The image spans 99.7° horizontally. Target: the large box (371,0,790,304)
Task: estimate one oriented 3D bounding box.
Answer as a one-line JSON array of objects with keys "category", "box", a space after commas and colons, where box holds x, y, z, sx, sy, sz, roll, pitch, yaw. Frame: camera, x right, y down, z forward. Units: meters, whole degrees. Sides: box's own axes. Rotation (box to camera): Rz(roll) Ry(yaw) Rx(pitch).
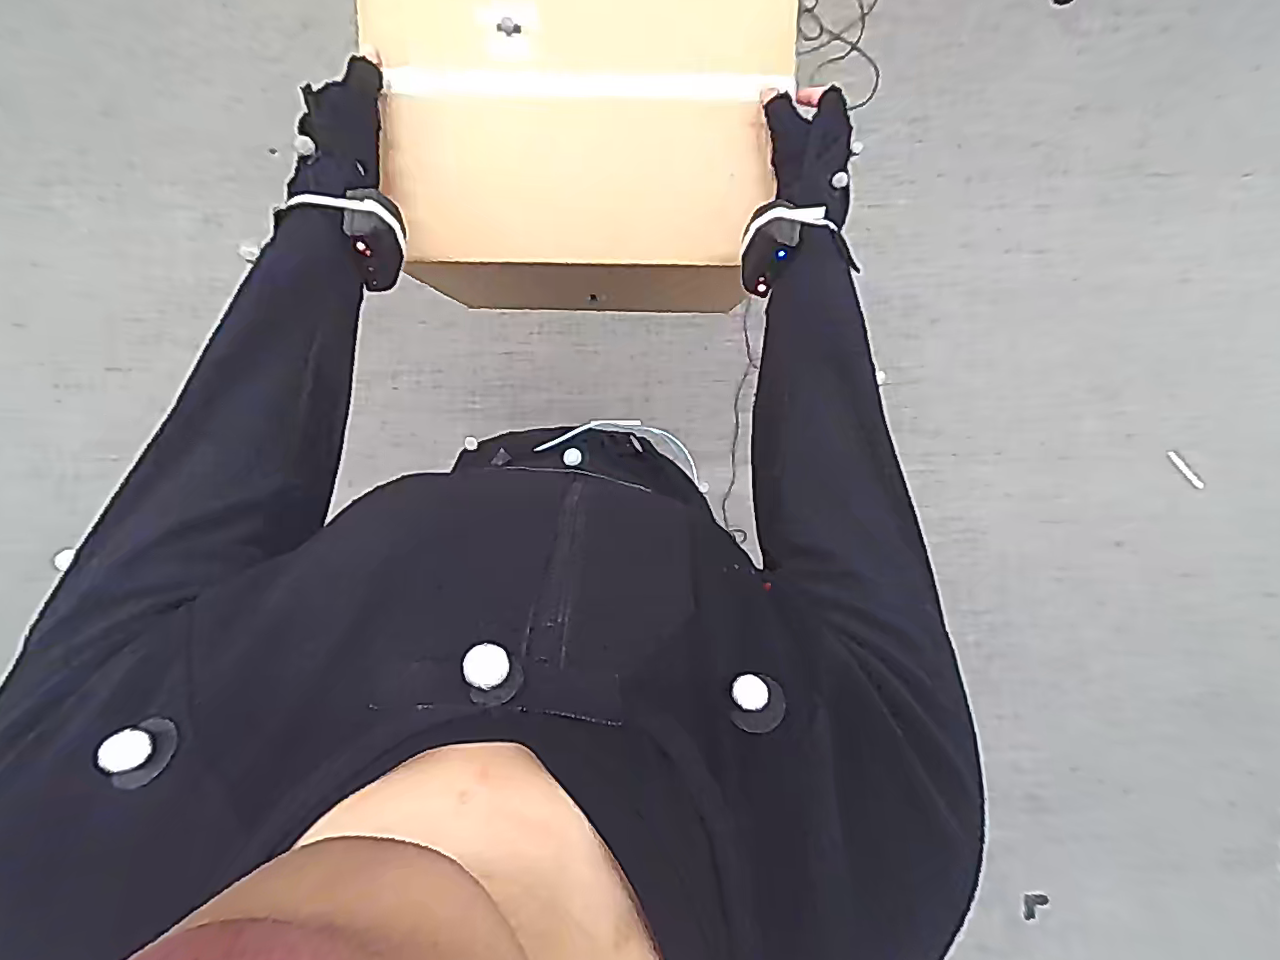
[{"category": "large box", "box": [-0.056, -0.398, 0.667, 0.408, 0.320, 0.320, 0, 98, -1]}]
